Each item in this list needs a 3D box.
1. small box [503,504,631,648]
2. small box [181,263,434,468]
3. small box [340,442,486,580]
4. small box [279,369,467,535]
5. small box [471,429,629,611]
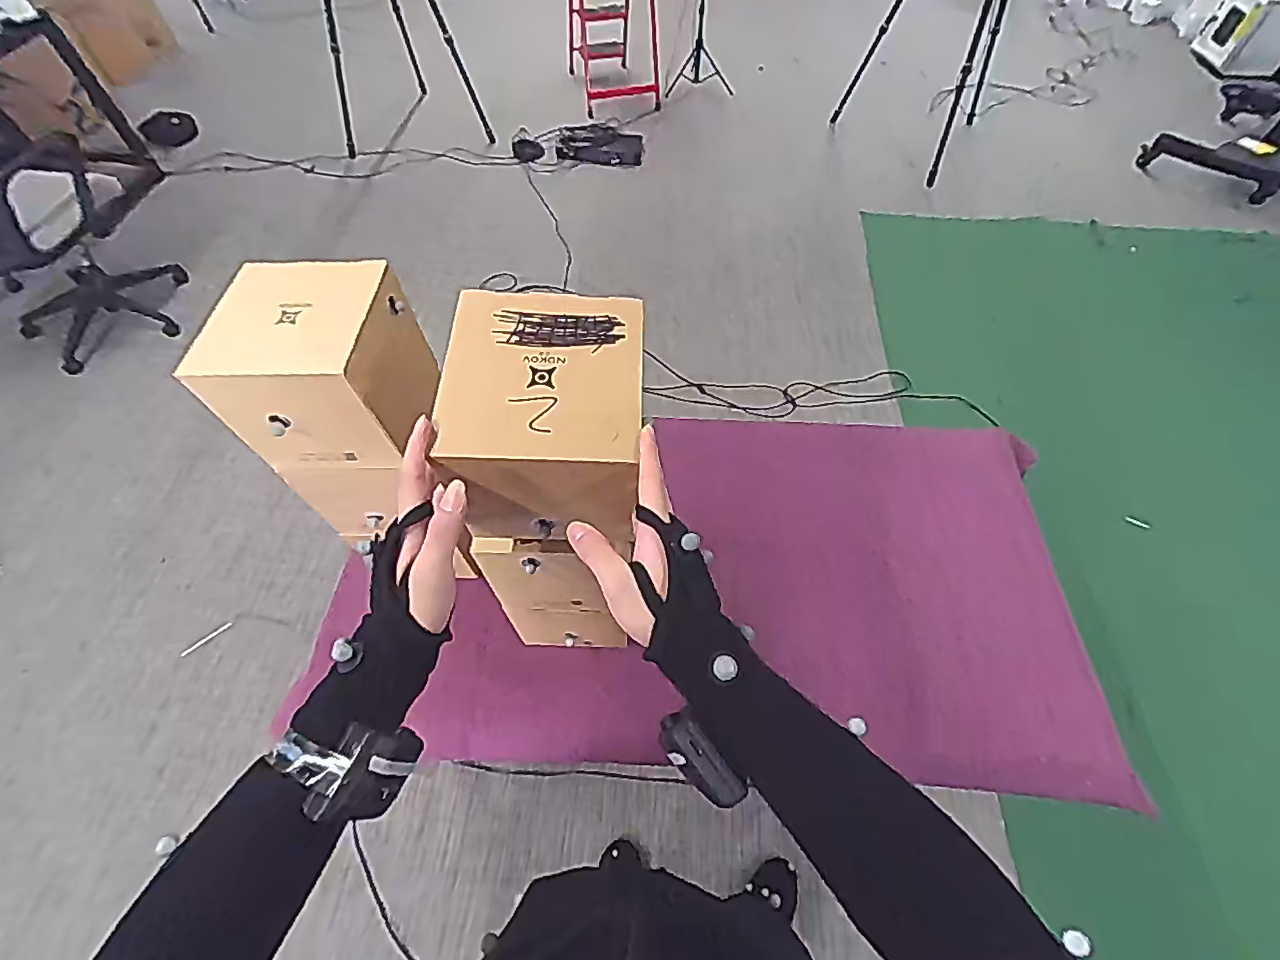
[{"bbox_3d":[-0.101,0.147,0.839,0.168,0.176,0.179,1,57,2],"label":"small box"},{"bbox_3d":[-0.359,-0.126,0.630,0.168,0.176,0.179,-1,57,1],"label":"small box"},{"bbox_3d":[-0.358,0.053,0.903,0.168,0.176,0.179,0,58,1],"label":"small box"},{"bbox_3d":[-0.357,-0.038,0.767,0.168,0.176,0.179,0,58,1],"label":"small box"},{"bbox_3d":[-0.102,0.055,0.703,0.168,0.176,0.179,1,56,2],"label":"small box"}]
